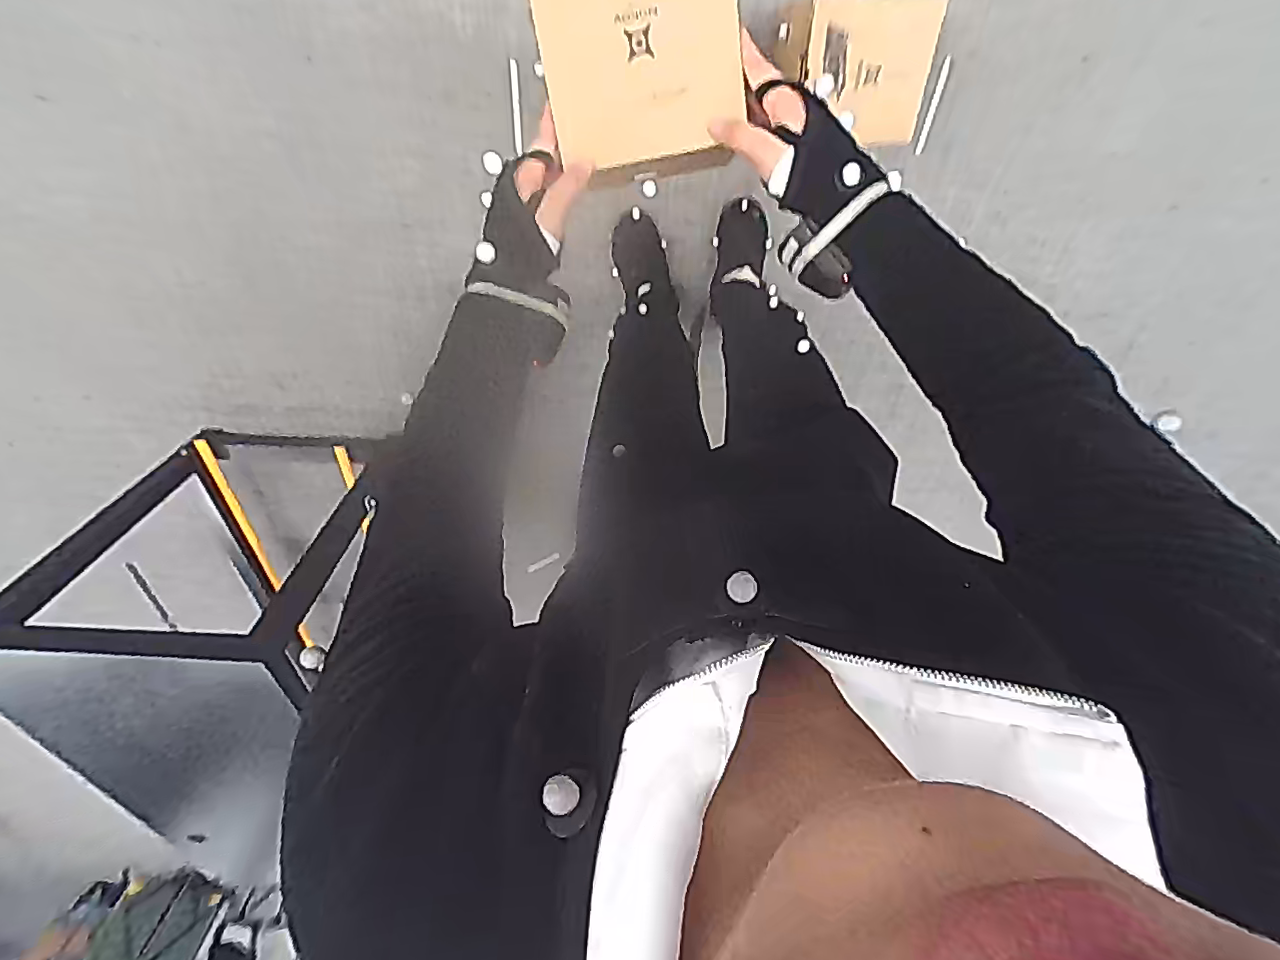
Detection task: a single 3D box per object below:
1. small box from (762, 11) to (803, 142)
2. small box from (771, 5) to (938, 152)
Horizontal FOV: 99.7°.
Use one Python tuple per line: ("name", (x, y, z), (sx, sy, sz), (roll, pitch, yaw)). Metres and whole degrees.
("small box", (0.317, -0.712, 0.957), (0.168, 0.176, 0.179), (1, 128, 0))
("small box", (0.309, -0.608, 0.828), (0.179, 0.176, 0.168), (0, 127, 0))
